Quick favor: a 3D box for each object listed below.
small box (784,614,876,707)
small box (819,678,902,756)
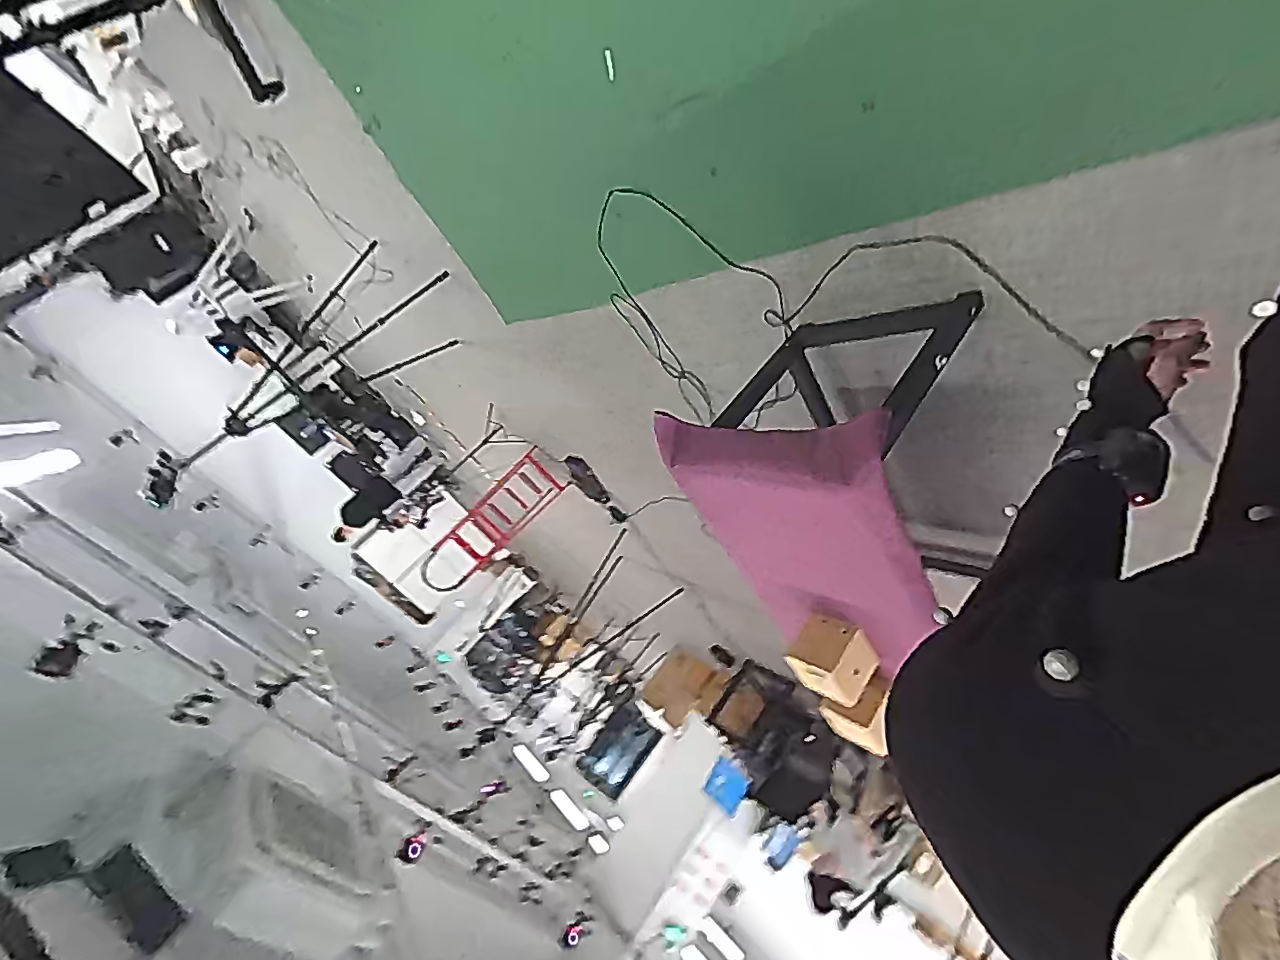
[{"bbox_3d":[0.564,0.527,1.601,0.168,0.176,0.179,9,141,54],"label":"small box"},{"bbox_3d":[0.714,0.738,1.735,0.179,0.176,0.168,7,139,54],"label":"small box"}]
